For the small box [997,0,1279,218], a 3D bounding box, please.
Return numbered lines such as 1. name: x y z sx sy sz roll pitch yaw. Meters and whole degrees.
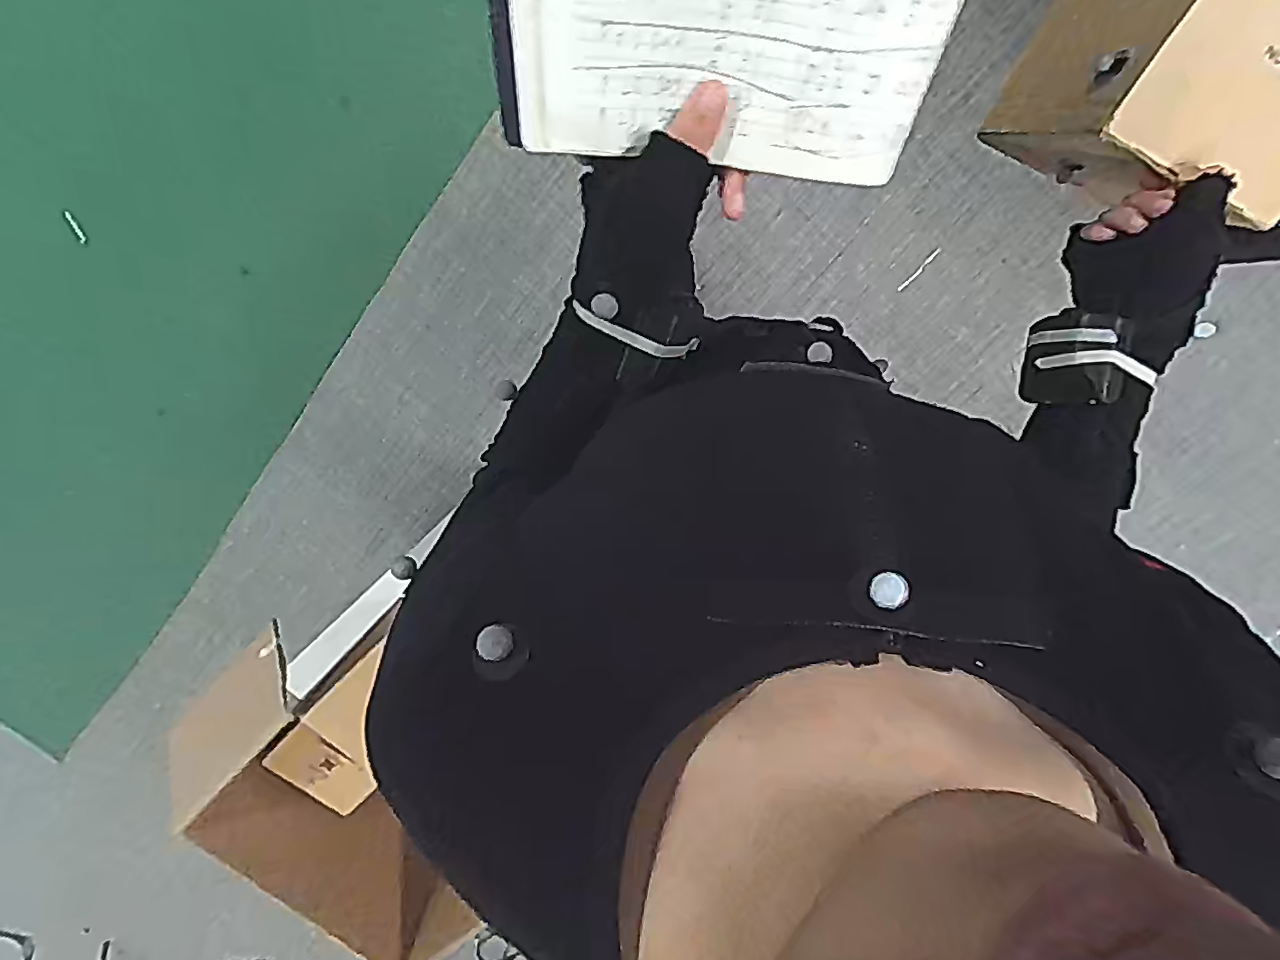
1. small box: 0.422 -0.326 0.402 0.168 0.176 0.179 19 121 -11
